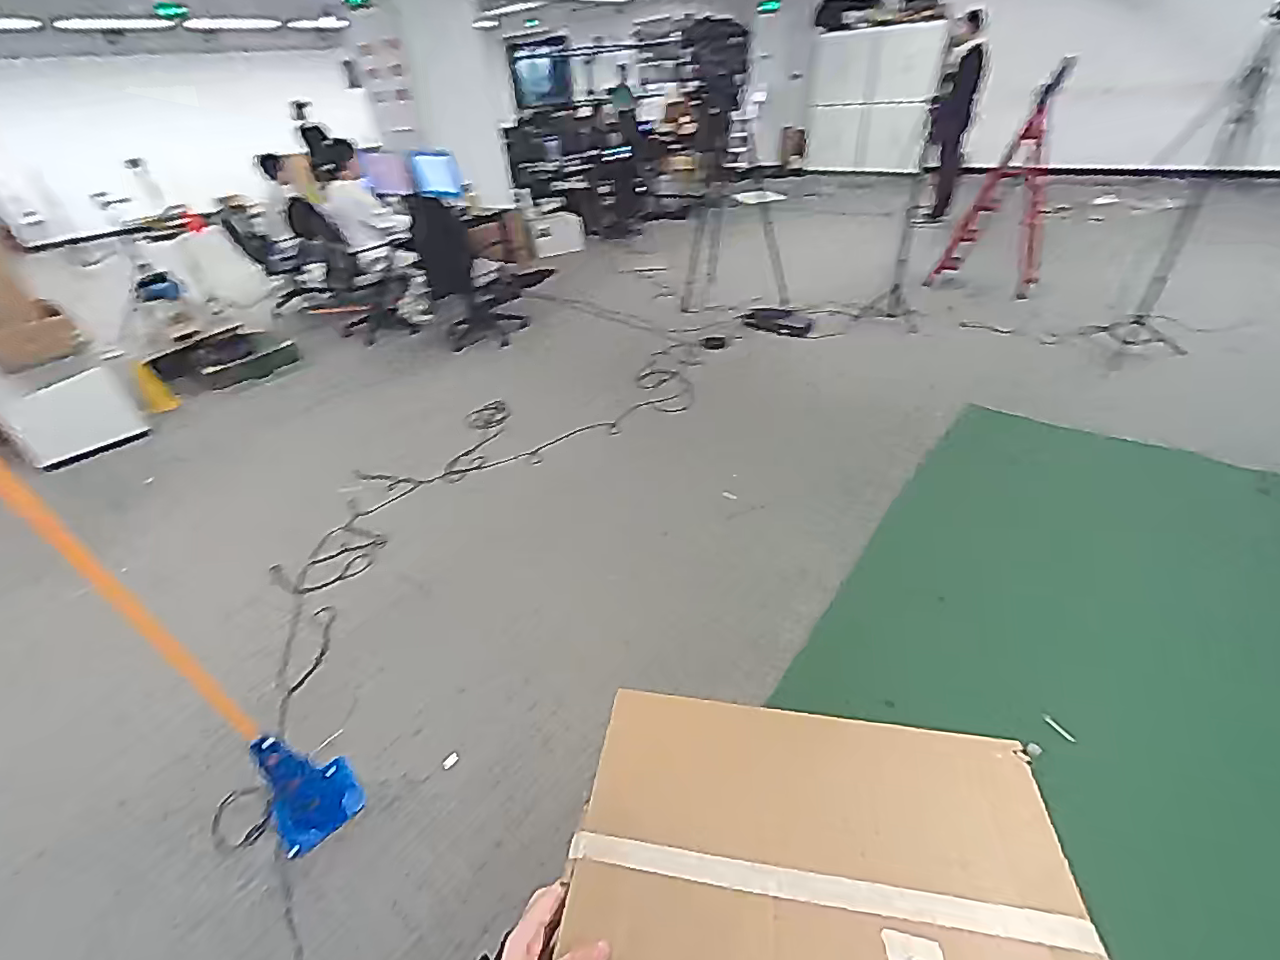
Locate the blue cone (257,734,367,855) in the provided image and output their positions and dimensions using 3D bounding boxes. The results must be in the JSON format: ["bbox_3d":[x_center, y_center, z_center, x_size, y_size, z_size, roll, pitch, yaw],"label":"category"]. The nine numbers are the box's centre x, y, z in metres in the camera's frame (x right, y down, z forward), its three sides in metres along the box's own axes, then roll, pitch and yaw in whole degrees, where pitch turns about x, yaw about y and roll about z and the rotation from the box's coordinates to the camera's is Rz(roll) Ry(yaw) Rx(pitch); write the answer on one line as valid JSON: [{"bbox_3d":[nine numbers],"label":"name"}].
[{"bbox_3d":[-0.886,0.765,1.399,0.193,0.380,0.192,-31,44,-30],"label":"blue cone"}]

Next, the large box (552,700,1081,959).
[{"bbox_3d":[0.142,0.461,0.533,0.408,0.320,0.320,3,36,9],"label":"large box"}]
